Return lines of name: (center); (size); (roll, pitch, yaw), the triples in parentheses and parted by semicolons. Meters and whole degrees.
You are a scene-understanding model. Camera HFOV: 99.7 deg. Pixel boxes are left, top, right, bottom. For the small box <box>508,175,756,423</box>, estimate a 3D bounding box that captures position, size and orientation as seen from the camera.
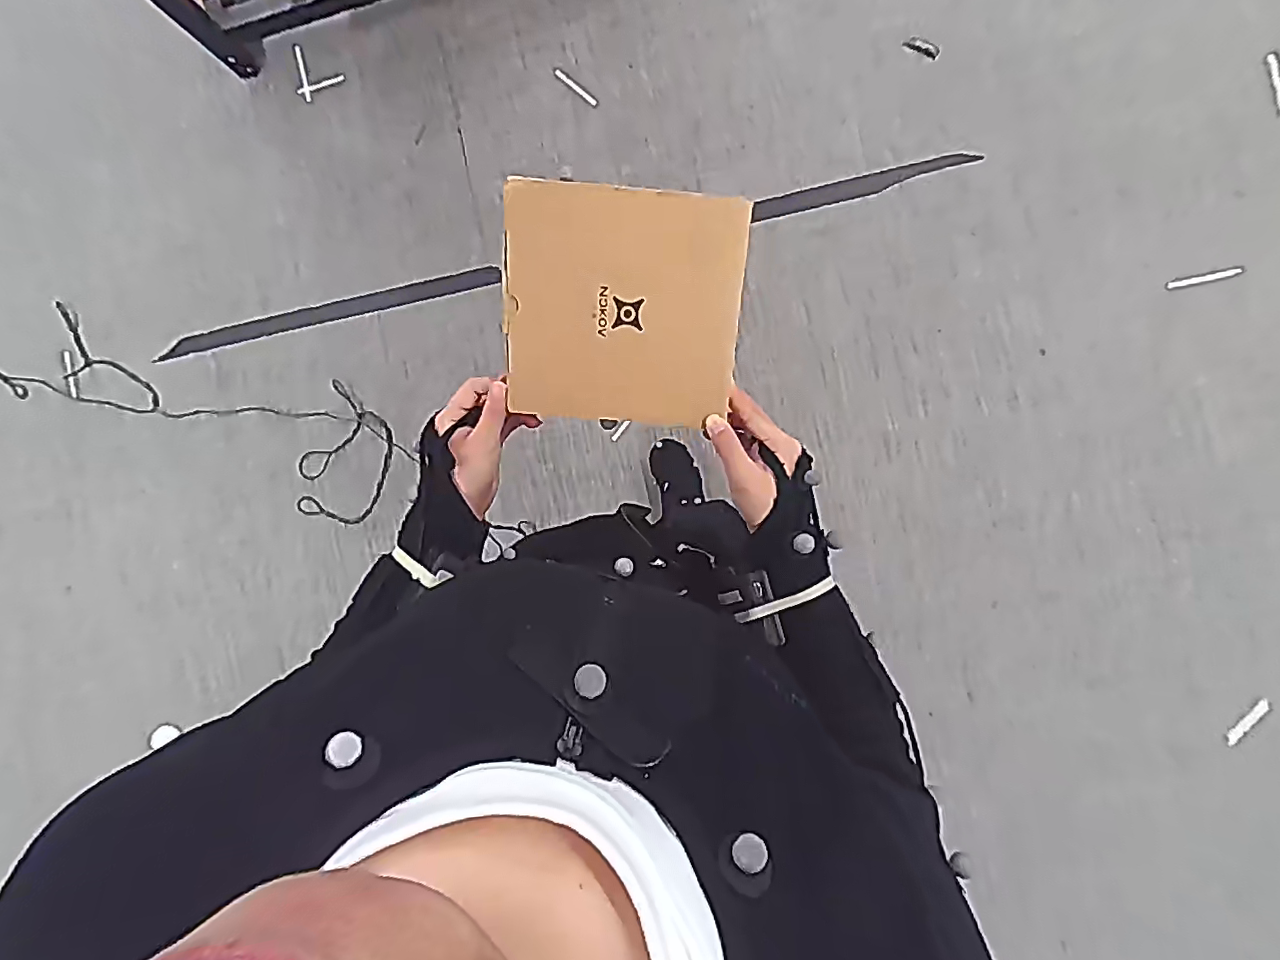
small box: (-0.009, -0.155, 0.476); (0.179, 0.176, 0.168); (4, 109, 1)
